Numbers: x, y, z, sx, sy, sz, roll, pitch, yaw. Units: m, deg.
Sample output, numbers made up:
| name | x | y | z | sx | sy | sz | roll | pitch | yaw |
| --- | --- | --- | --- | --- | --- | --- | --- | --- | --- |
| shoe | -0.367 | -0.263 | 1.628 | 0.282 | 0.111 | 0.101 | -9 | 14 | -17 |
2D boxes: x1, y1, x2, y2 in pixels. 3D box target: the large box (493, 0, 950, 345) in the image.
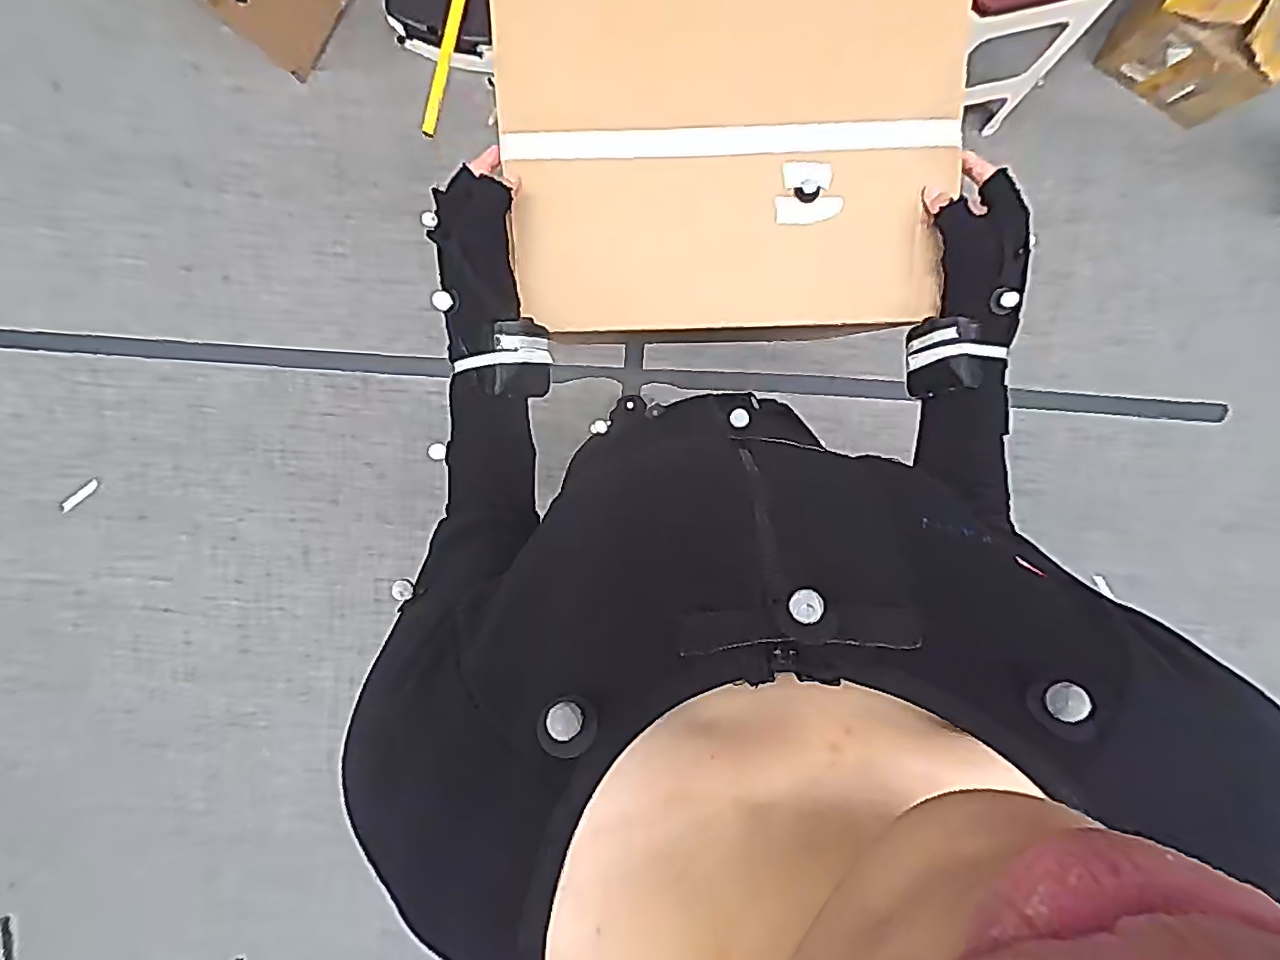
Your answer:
| name | x | y | z | sx | sy | sz | roll | pitch | yaw |
| --- | --- | --- | --- | --- | --- | --- | --- | --- | --- |
| large box | 0.072 | -0.333 | 0.634 | 0.408 | 0.320 | 0.320 | -2 | 102 | -1 |
